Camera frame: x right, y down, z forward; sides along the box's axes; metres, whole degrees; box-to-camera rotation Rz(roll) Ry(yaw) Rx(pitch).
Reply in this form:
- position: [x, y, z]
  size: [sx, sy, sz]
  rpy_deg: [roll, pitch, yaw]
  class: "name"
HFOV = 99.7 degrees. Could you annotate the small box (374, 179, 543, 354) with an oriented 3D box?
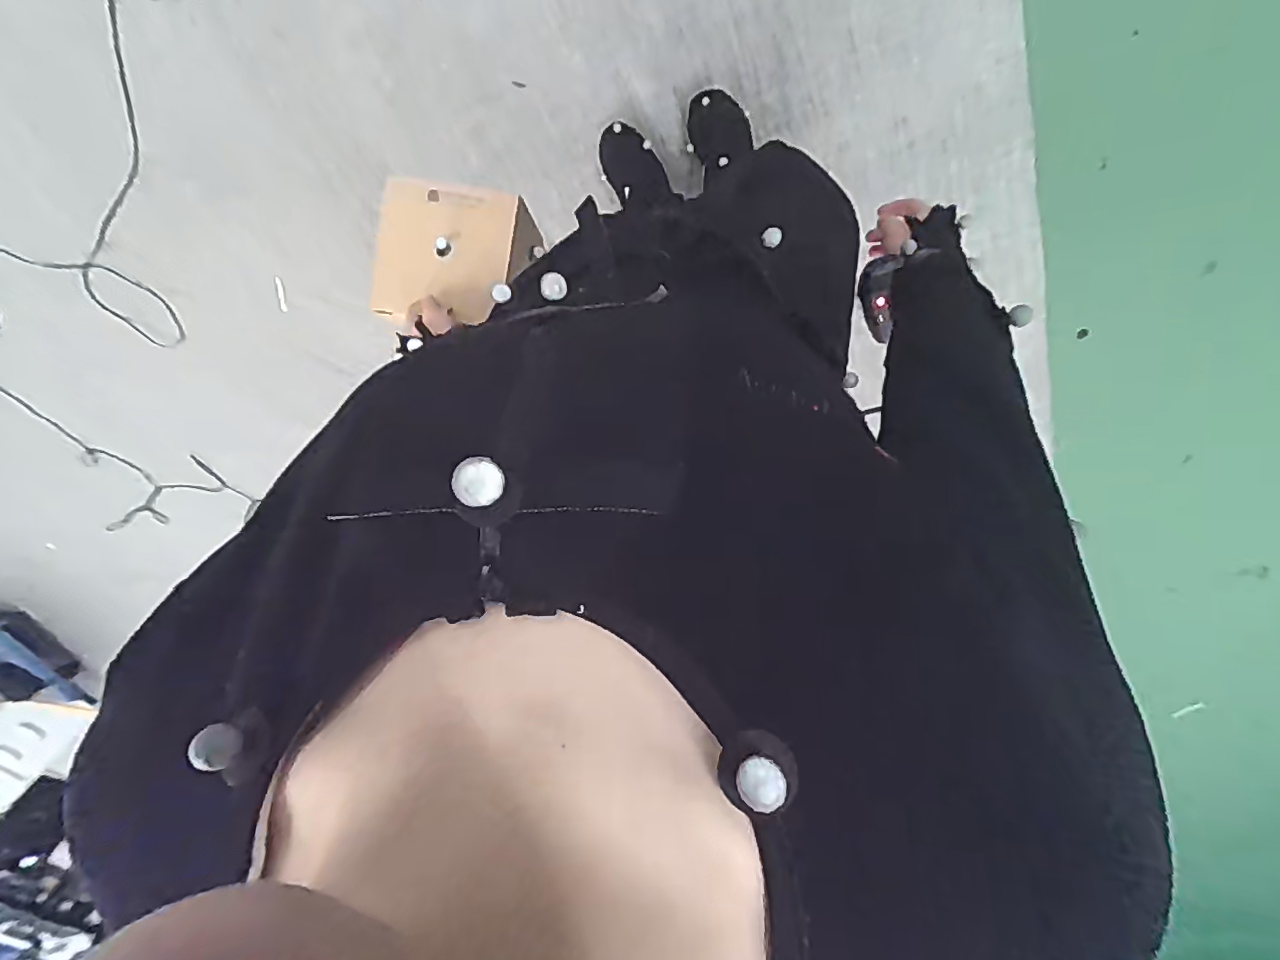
- position: [-0.237, -0.283, 0.742]
  size: [0.168, 0.179, 0.176]
  rpy_deg: [9, 93, 0]
  class: "small box"
